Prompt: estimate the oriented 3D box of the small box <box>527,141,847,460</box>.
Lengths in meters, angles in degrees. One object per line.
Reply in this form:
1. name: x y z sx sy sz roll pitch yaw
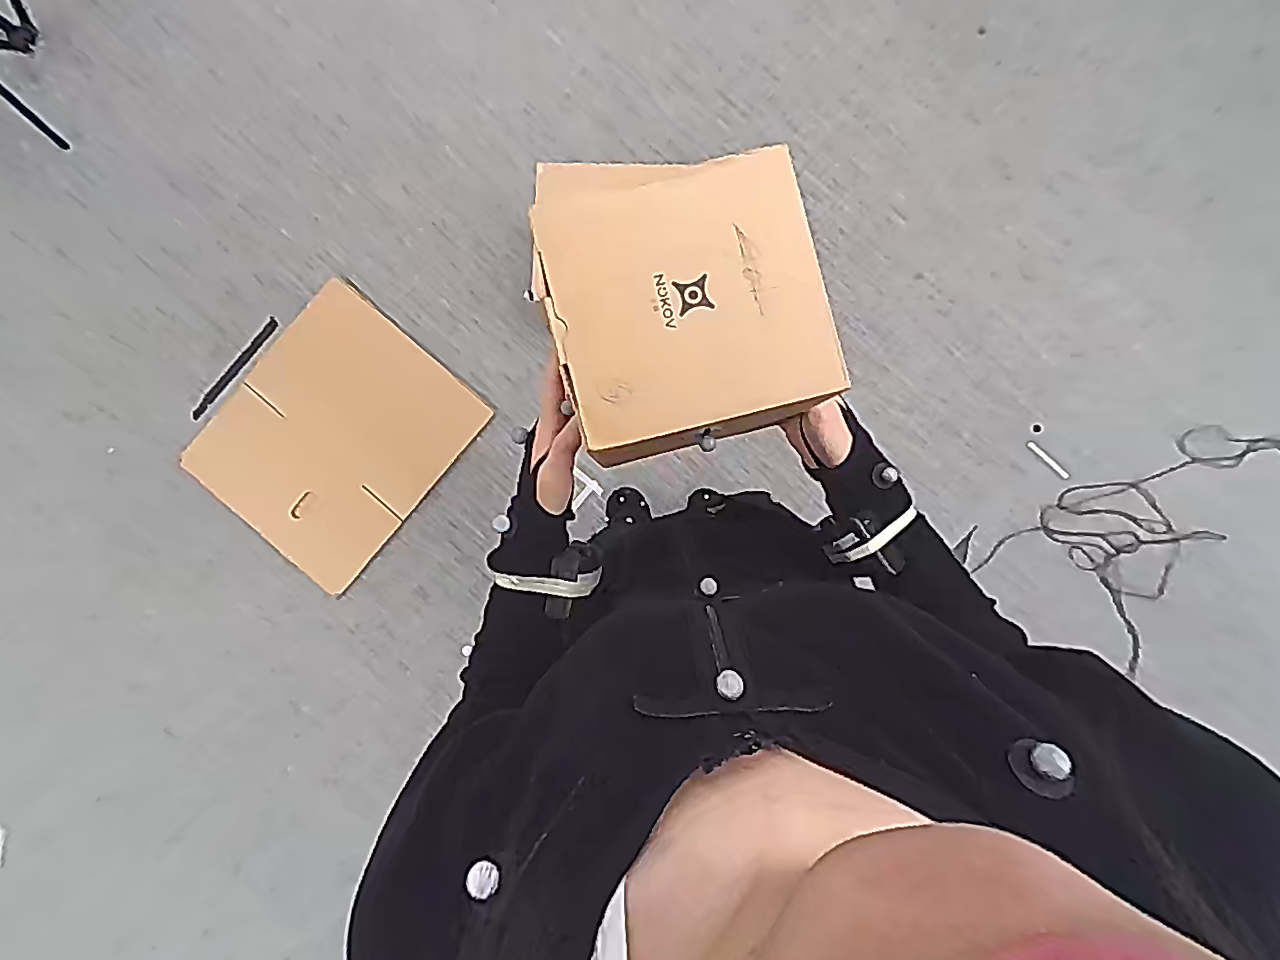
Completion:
1. small box: 0.030 -0.116 0.423 0.179 0.176 0.168 -15 89 -1
